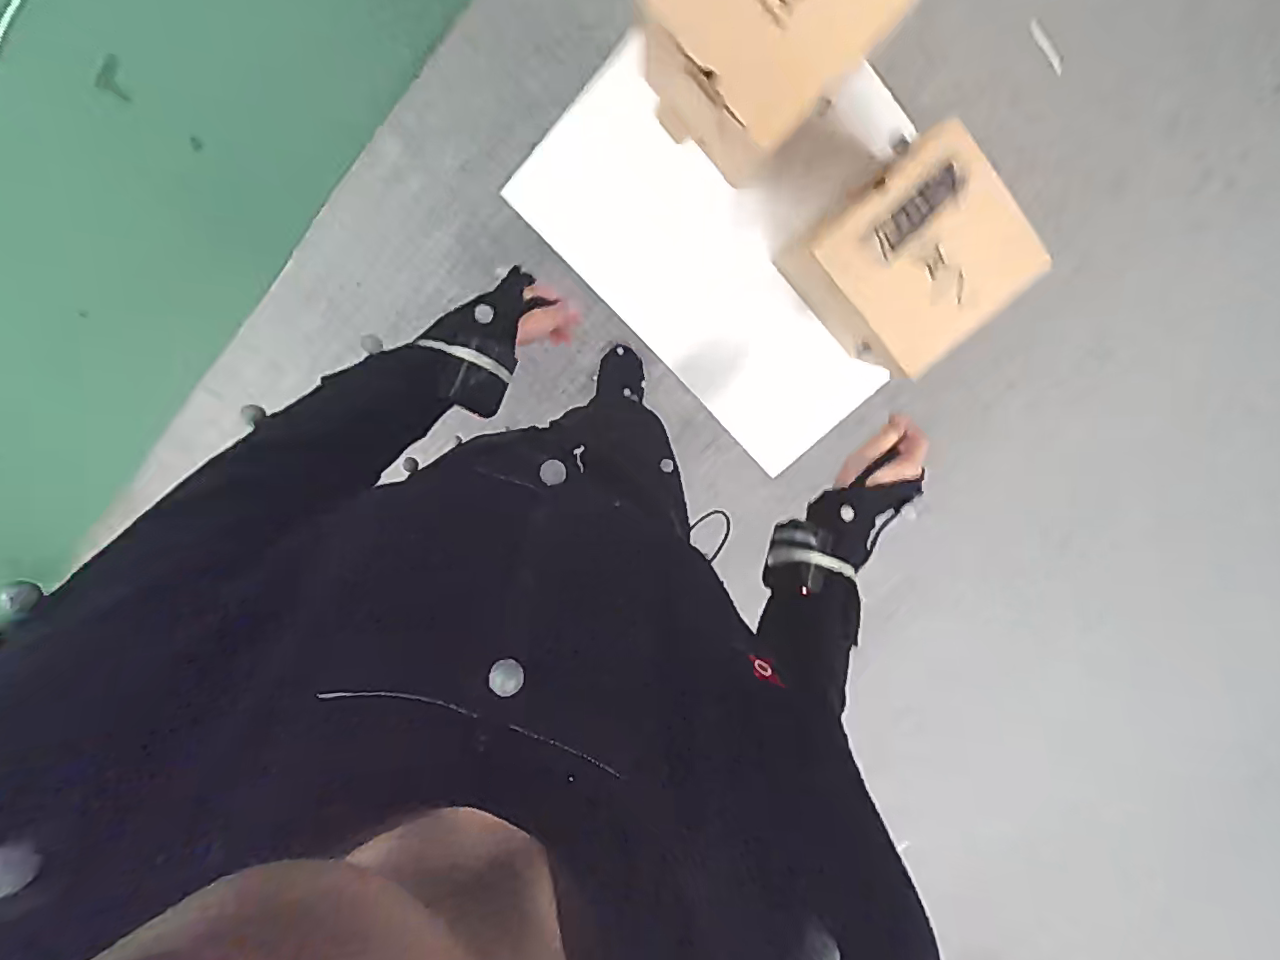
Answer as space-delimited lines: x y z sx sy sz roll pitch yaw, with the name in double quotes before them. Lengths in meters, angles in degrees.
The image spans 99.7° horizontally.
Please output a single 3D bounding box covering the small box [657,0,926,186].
"small box" 0.128 -0.430 0.535 0.179 0.176 0.168 -42 104 13
